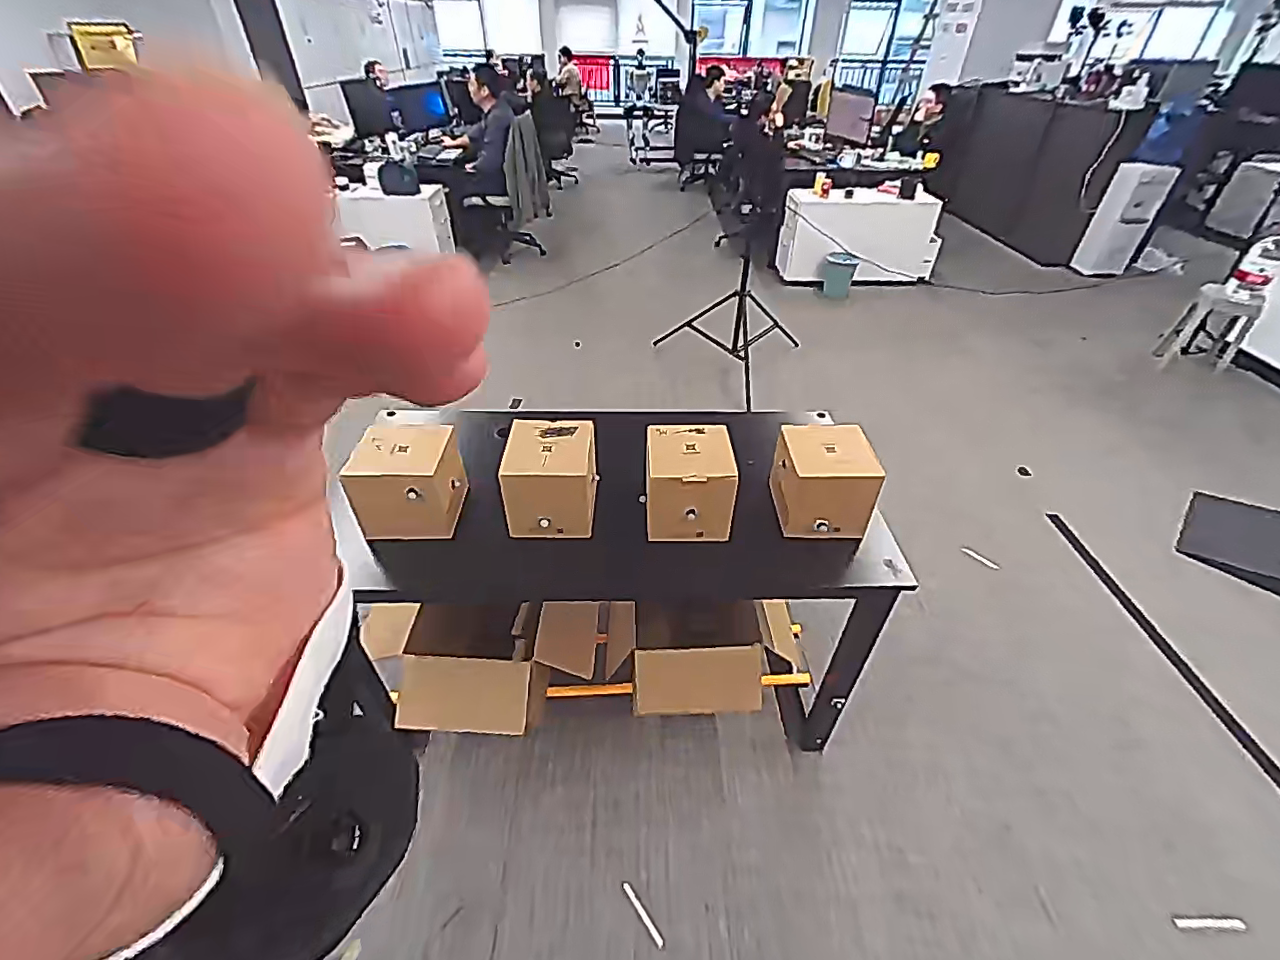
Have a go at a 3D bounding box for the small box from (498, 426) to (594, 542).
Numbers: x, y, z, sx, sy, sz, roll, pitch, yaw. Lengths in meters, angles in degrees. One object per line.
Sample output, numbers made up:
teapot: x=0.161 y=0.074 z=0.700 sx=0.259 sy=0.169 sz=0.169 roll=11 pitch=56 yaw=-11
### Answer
small box: x=-0.183 y=0.006 z=1.114 sx=0.168 sy=0.176 sz=0.179 roll=0 pitch=40 yaw=0

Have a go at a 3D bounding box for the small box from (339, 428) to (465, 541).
small box: x=-0.468 y=0.011 z=1.100 sx=0.179 sy=0.176 sz=0.168 roll=0 pitch=39 yaw=-2

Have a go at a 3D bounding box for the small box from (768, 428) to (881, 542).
small box: x=0.370 y=0.008 z=1.121 sx=0.168 sy=0.176 sz=0.179 roll=-1 pitch=40 yaw=0

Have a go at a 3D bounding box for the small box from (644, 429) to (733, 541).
small box: x=0.092 y=0.013 z=1.112 sx=0.168 sy=0.176 sz=0.179 roll=0 pitch=40 yaw=-1
